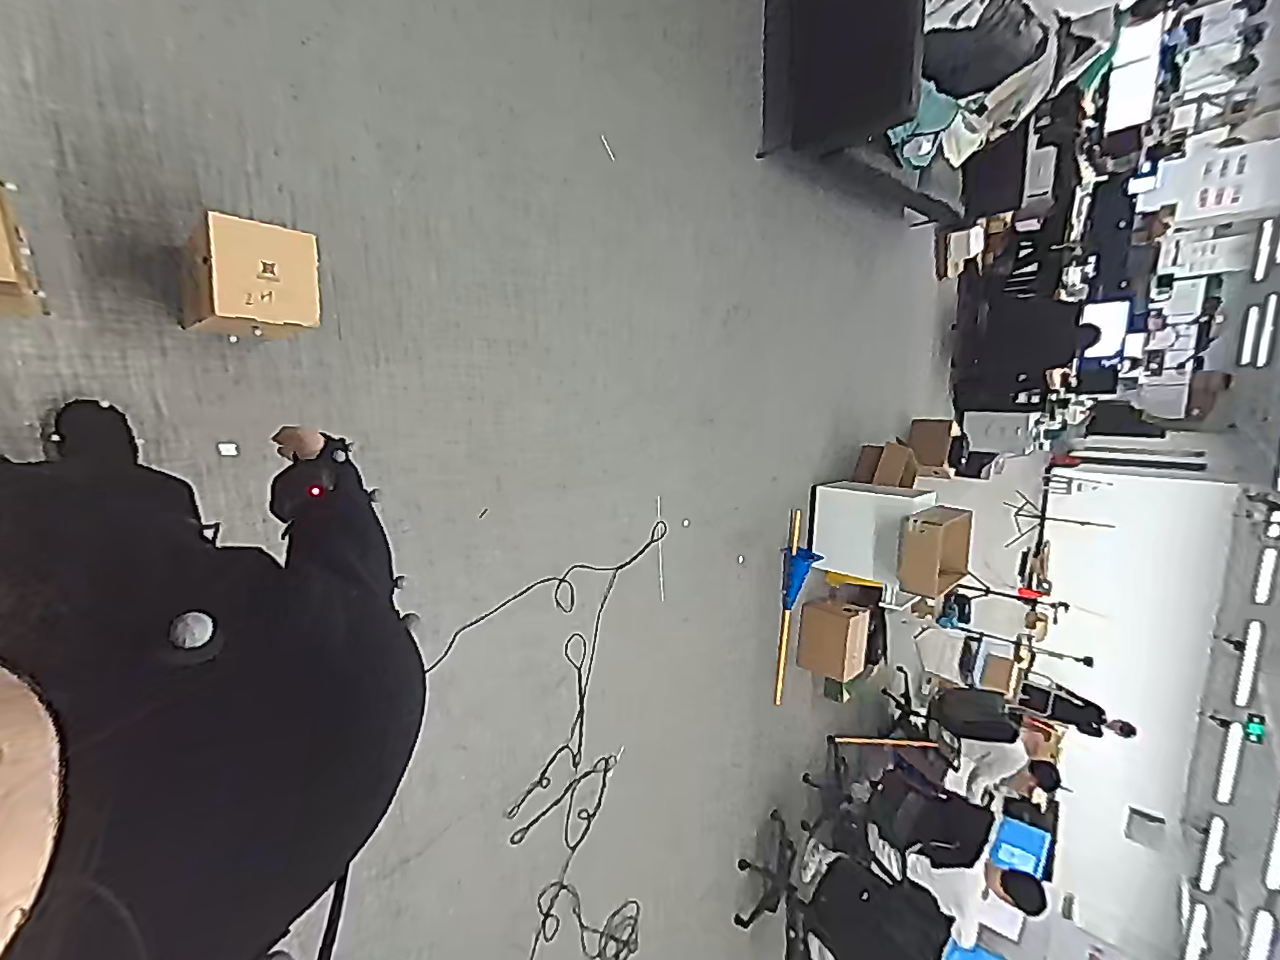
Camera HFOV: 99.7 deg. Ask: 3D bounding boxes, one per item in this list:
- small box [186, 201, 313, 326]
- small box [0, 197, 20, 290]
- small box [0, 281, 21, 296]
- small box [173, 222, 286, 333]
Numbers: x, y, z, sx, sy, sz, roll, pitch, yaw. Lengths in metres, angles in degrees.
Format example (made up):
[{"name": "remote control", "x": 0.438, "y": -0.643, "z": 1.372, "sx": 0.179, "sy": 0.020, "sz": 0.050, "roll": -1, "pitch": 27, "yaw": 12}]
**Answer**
[{"name": "small box", "x": -0.746, "y": -0.400, "z": 1.032, "sx": 0.168, "sy": 0.176, "sz": 0.179, "roll": -6, "pitch": 102, "yaw": -46}, {"name": "small box", "x": -0.890, "y": -0.333, "z": 0.647, "sx": 0.168, "sy": 0.176, "sz": 0.179, "roll": -14, "pitch": 108, "yaw": -43}, {"name": "small box", "x": -1.010, "y": -0.356, "z": 0.754, "sx": 0.168, "sy": 0.176, "sz": 0.179, "roll": -16, "pitch": 108, "yaw": -44}, {"name": "small box", "x": -0.868, "y": -0.416, "z": 1.142, "sx": 0.168, "sy": 0.176, "sz": 0.179, "roll": -4, "pitch": 100, "yaw": -47}]
